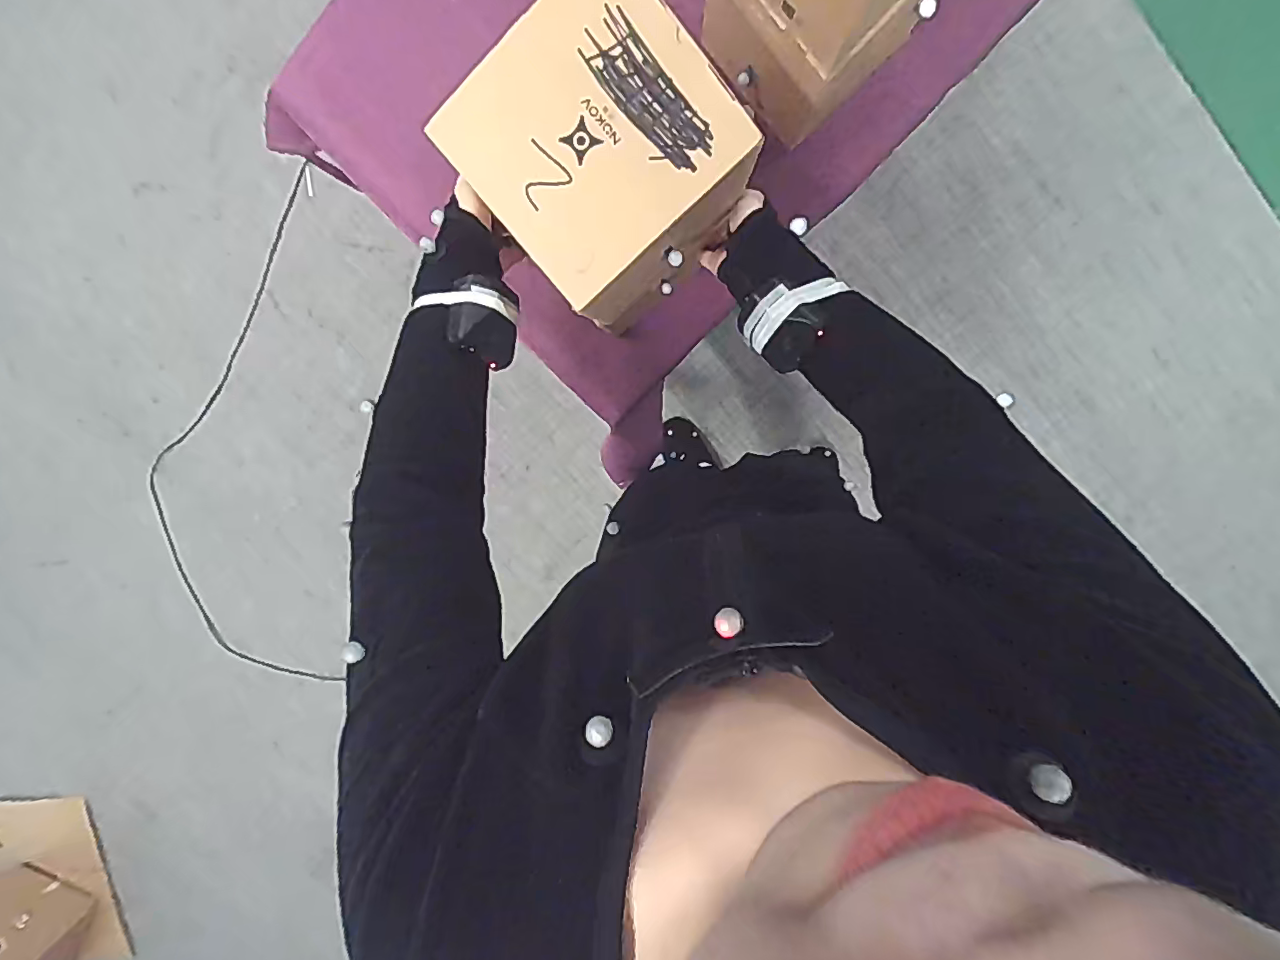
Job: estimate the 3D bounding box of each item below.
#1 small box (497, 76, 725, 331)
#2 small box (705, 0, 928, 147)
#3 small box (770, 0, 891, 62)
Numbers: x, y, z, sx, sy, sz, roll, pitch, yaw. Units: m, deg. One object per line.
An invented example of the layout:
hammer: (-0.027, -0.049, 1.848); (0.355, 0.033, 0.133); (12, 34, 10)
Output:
small box: (-0.024, -0.287, 0.615); (0.179, 0.176, 0.168); (-37, 98, 10)
small box: (0.181, -0.498, 0.556); (0.179, 0.176, 0.168); (-41, 95, 10)
small box: (0.166, -0.471, 0.394); (0.168, 0.176, 0.179); (45, 100, -5)
